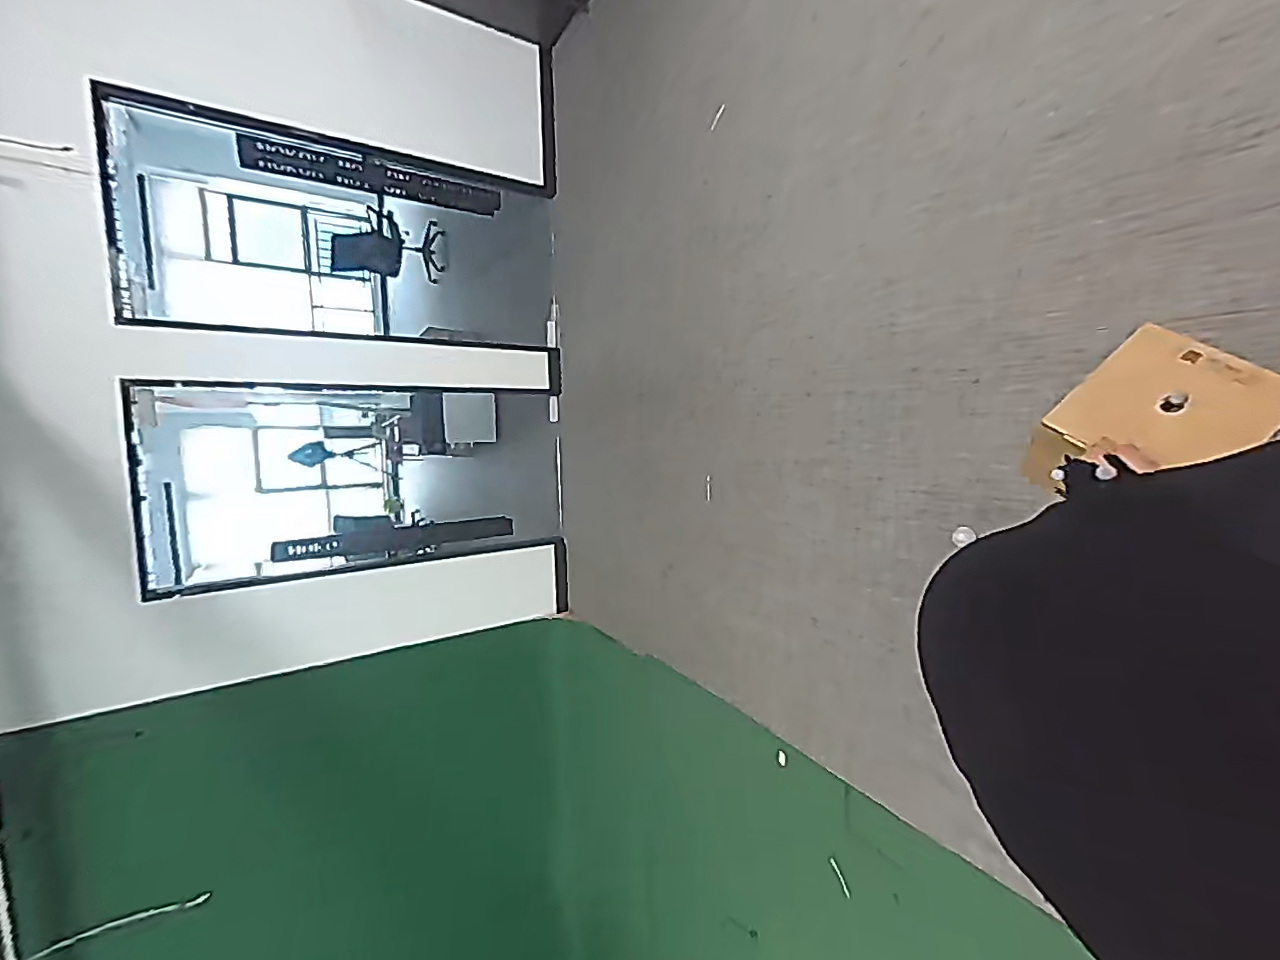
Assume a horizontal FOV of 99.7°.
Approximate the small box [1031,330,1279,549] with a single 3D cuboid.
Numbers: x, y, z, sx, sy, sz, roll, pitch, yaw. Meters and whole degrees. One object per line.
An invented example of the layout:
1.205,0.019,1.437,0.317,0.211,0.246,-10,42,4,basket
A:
0.631,-0.049,0.664,0.176,0.179,0.168,-45,54,4,small box
